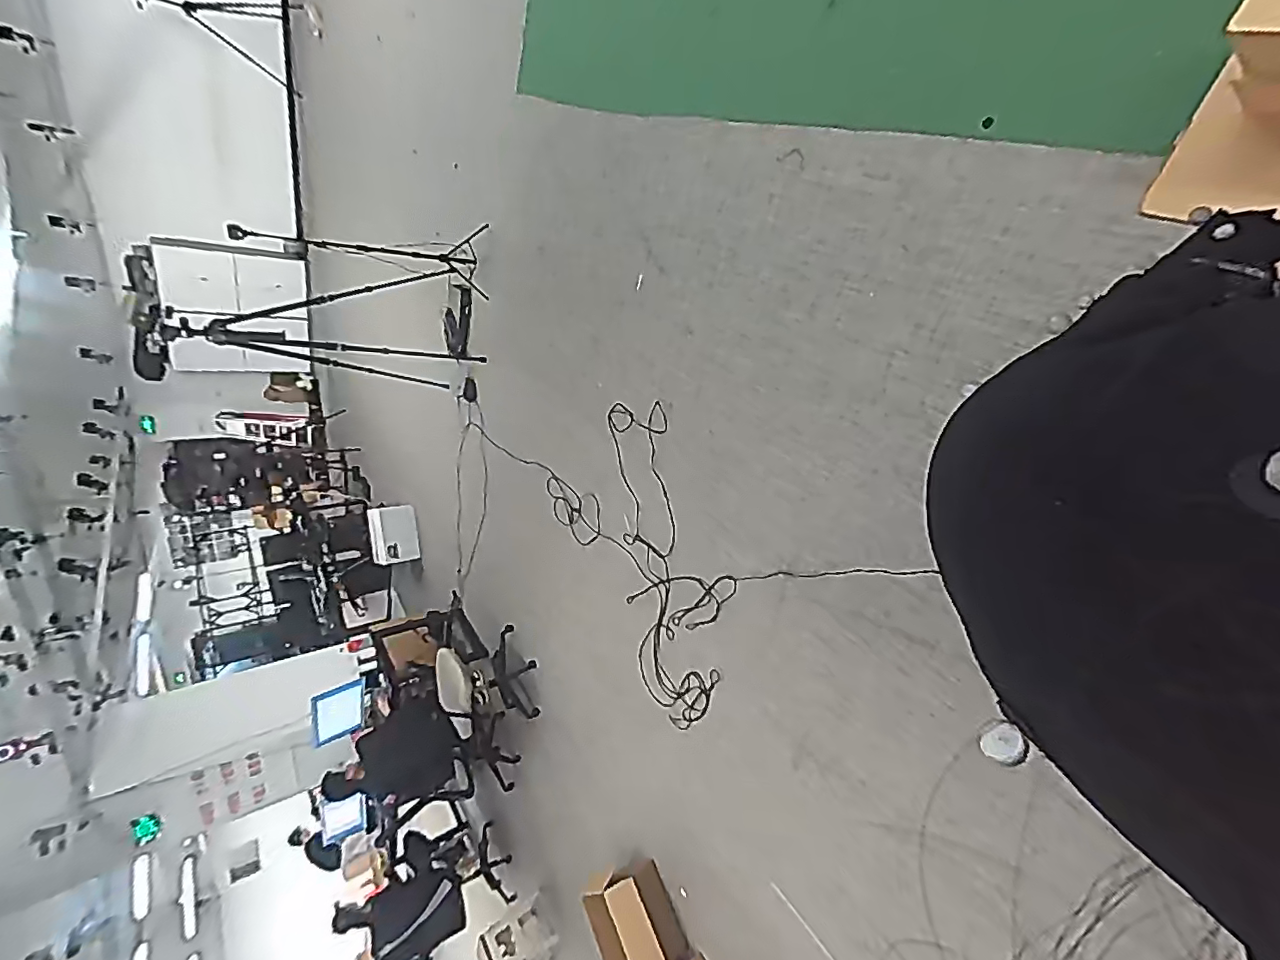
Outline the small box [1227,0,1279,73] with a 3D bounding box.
[{"bbox_3d":[0.951,-0.652,0.707,0.179,0.176,0.168,47,131,40],"label":"small box"}]
